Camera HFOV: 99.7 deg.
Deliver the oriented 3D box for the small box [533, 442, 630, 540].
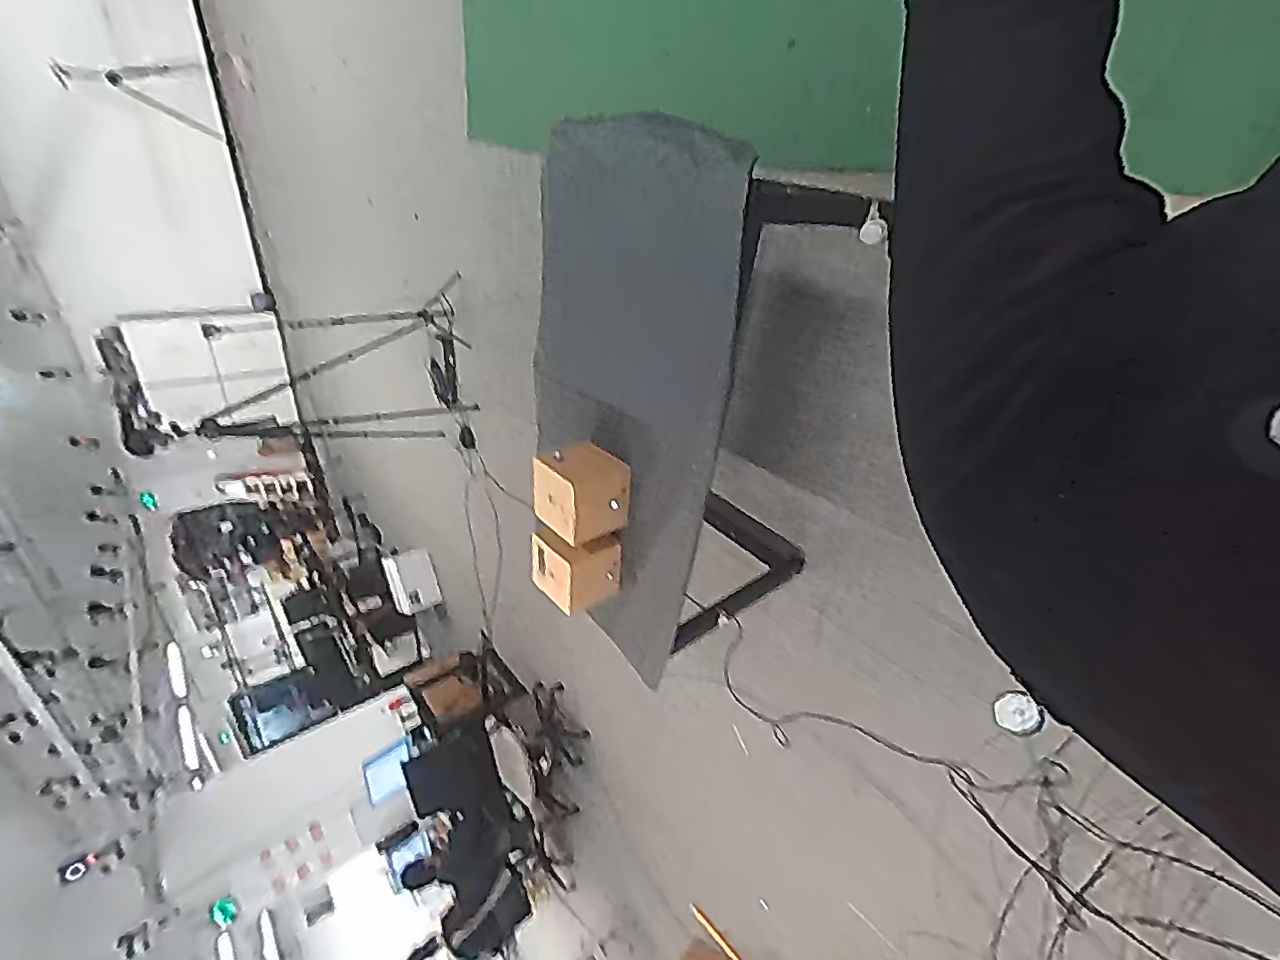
[{"bbox_3d":[-0.147,0.018,1.329,0.179,0.176,0.168,31,128,40],"label":"small box"}]
